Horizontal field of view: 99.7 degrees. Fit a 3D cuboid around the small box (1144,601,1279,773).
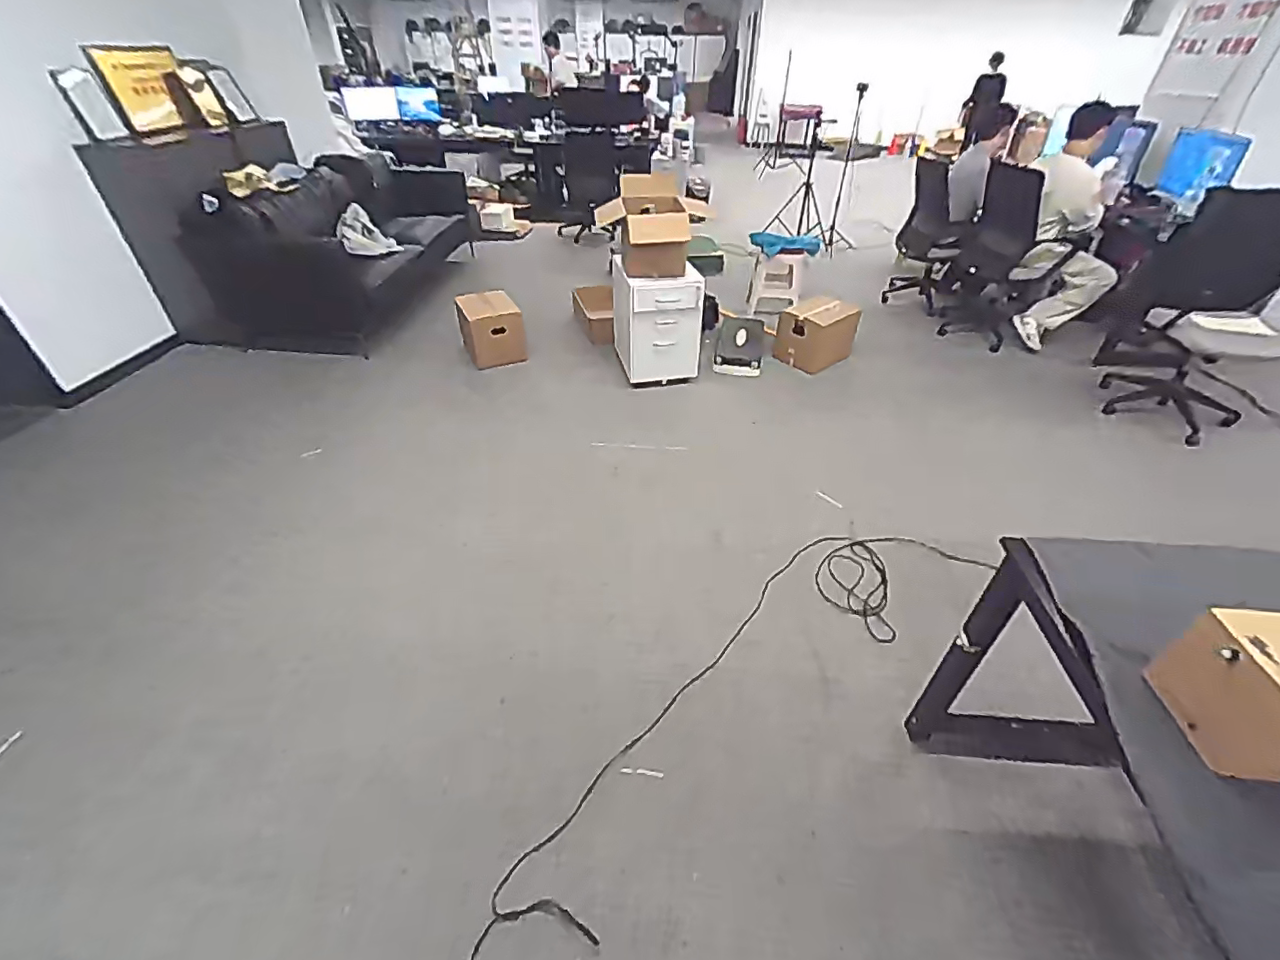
[{"bbox_3d":[0.893,0.295,0.764,0.179,0.176,0.168,4,38,3],"label":"small box"}]
